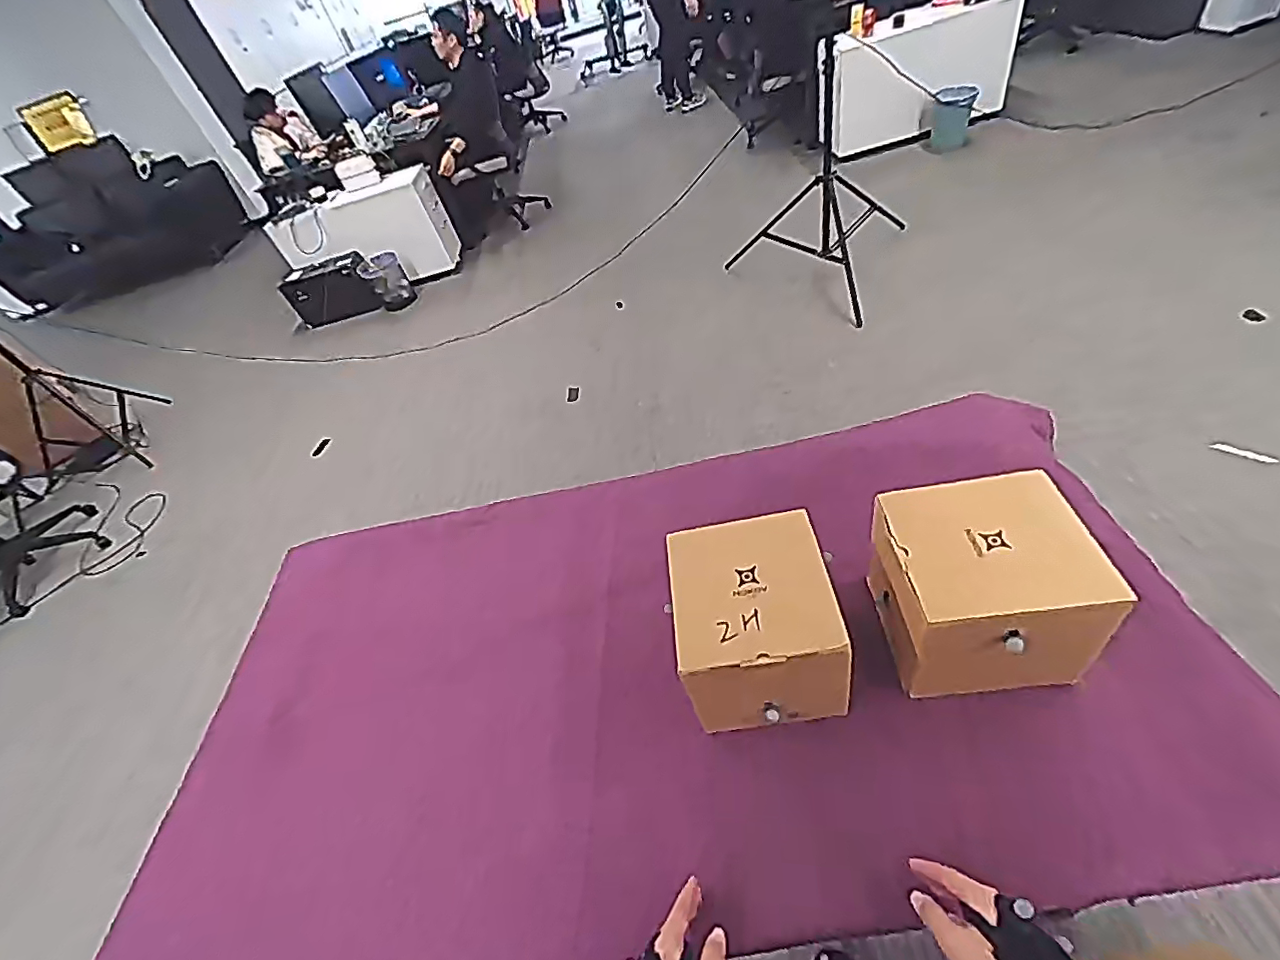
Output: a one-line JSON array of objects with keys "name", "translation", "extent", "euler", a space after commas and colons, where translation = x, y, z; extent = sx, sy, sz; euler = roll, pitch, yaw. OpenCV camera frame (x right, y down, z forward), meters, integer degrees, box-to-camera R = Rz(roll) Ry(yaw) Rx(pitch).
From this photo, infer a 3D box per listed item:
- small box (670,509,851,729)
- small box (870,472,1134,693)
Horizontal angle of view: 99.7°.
[{"name": "small box", "translation": [0.134, 0.163, 0.629], "extent": [0.168, 0.176, 0.179], "euler": [-12, 45, 9]}, {"name": "small box", "translation": [0.369, 0.117, 0.596], "extent": [0.179, 0.176, 0.168], "euler": [-10, 44, 10]}]
